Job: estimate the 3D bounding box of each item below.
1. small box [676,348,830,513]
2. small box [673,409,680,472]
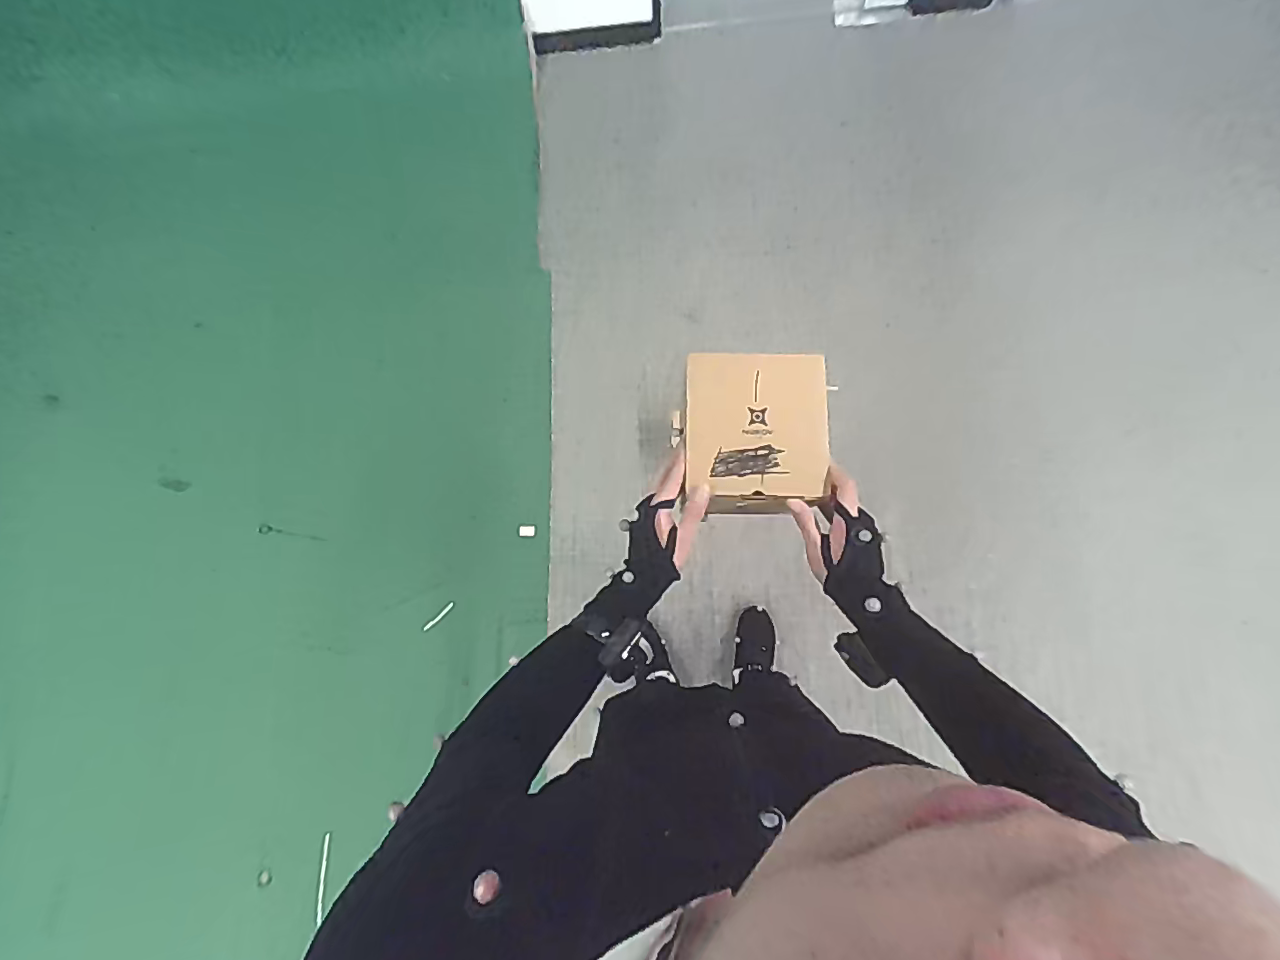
[{"bbox_3d":[0.133,-0.052,0.685,0.168,0.176,0.179,1,80,2],"label":"small box"},{"bbox_3d":[0.191,-0.110,1.617,0.179,0.176,0.168,0,79,5],"label":"small box"}]
